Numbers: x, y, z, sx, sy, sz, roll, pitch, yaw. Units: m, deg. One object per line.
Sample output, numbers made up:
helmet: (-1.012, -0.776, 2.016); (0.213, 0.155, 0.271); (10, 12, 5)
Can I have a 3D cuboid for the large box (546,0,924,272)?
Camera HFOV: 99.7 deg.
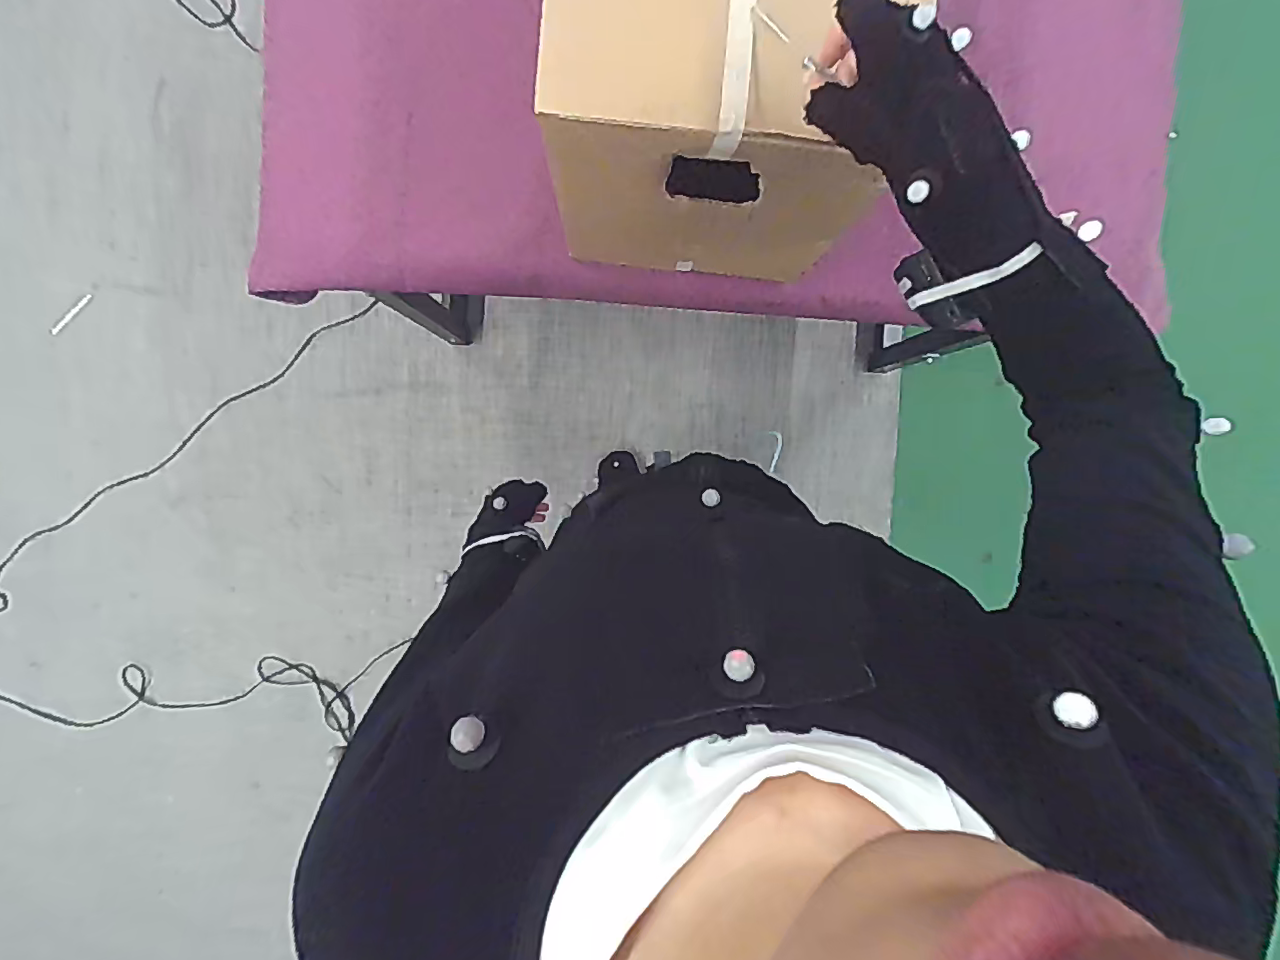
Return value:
large box: (0.083, -0.490, 0.586); (0.320, 0.320, 0.408); (5, 93, -2)
